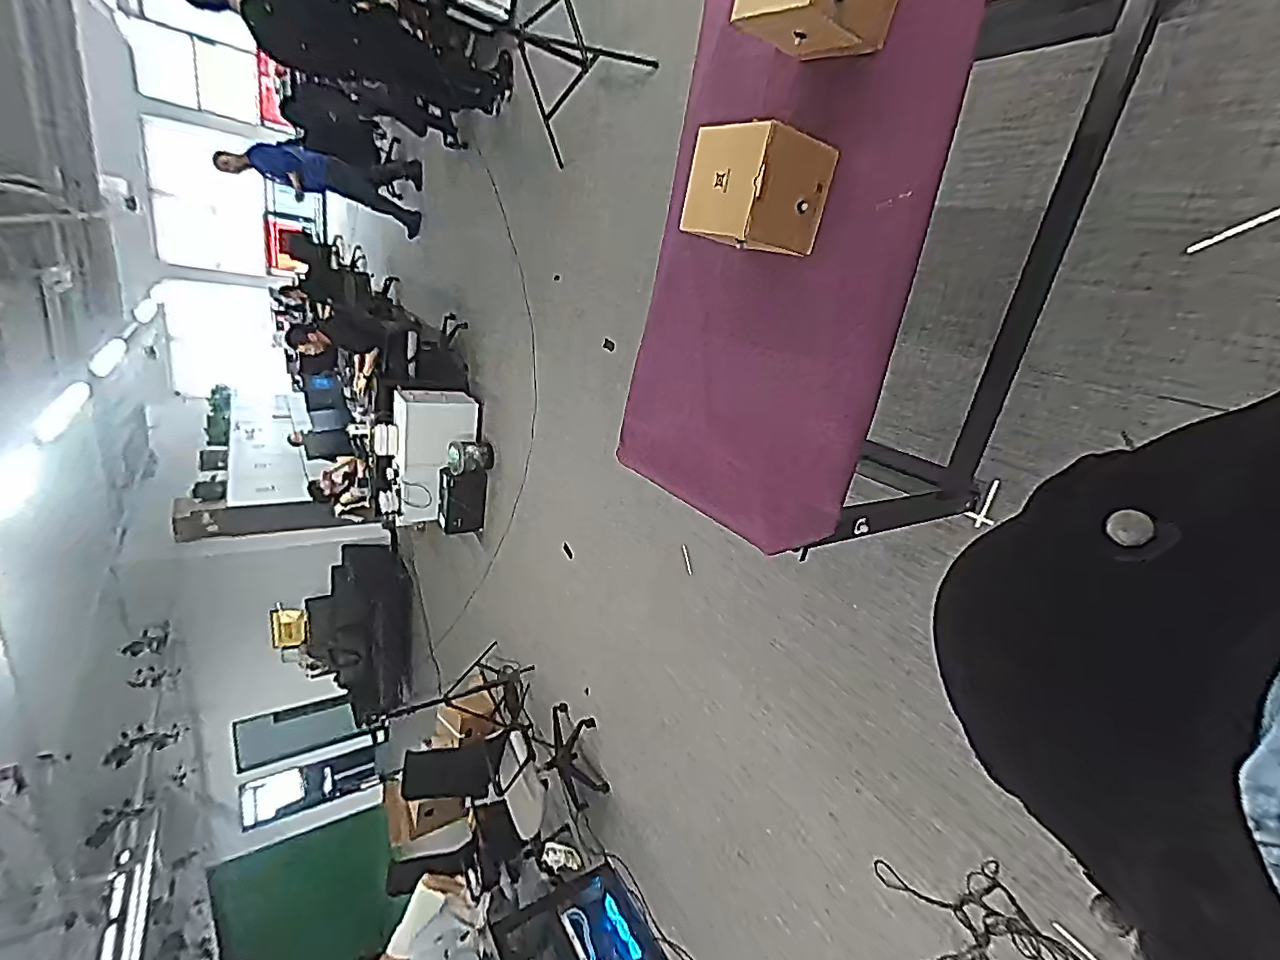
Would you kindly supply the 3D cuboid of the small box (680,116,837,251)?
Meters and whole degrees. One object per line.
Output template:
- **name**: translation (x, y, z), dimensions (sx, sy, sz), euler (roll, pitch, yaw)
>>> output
- **small box**: translation (0.201, -0.503, 0.934), dimensions (0.179, 0.176, 0.168), euler (37, 123, 47)
